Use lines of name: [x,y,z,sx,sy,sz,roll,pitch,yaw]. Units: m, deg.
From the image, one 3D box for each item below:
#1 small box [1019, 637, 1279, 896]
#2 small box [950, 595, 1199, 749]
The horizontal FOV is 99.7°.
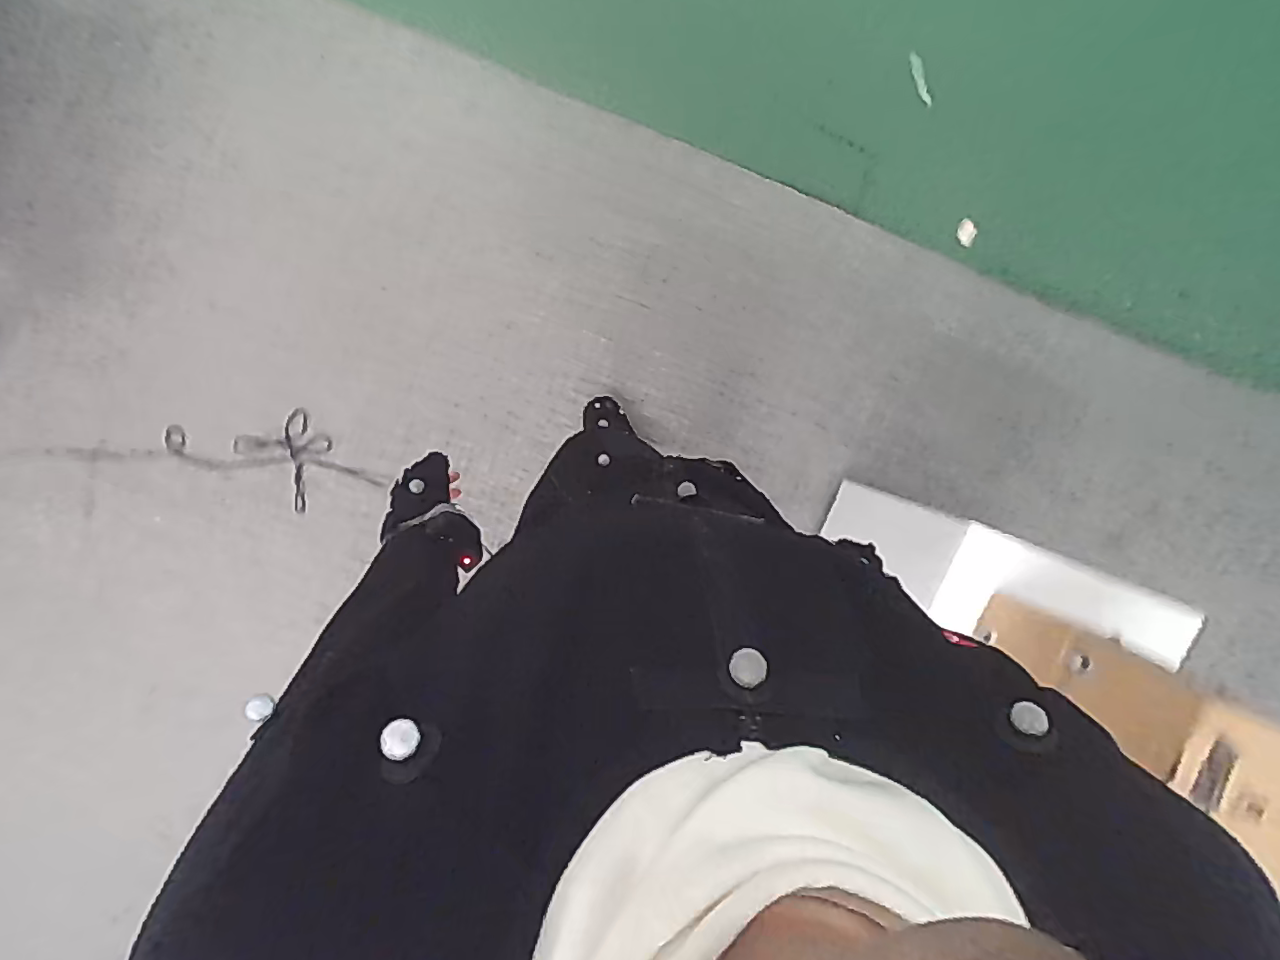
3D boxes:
small box: [0.583,0.300,0.607,0.179,0.176,0.168,24,96,-3]
small box: [0.585,0.281,0.755,0.179,0.176,0.168,21,97,0]
